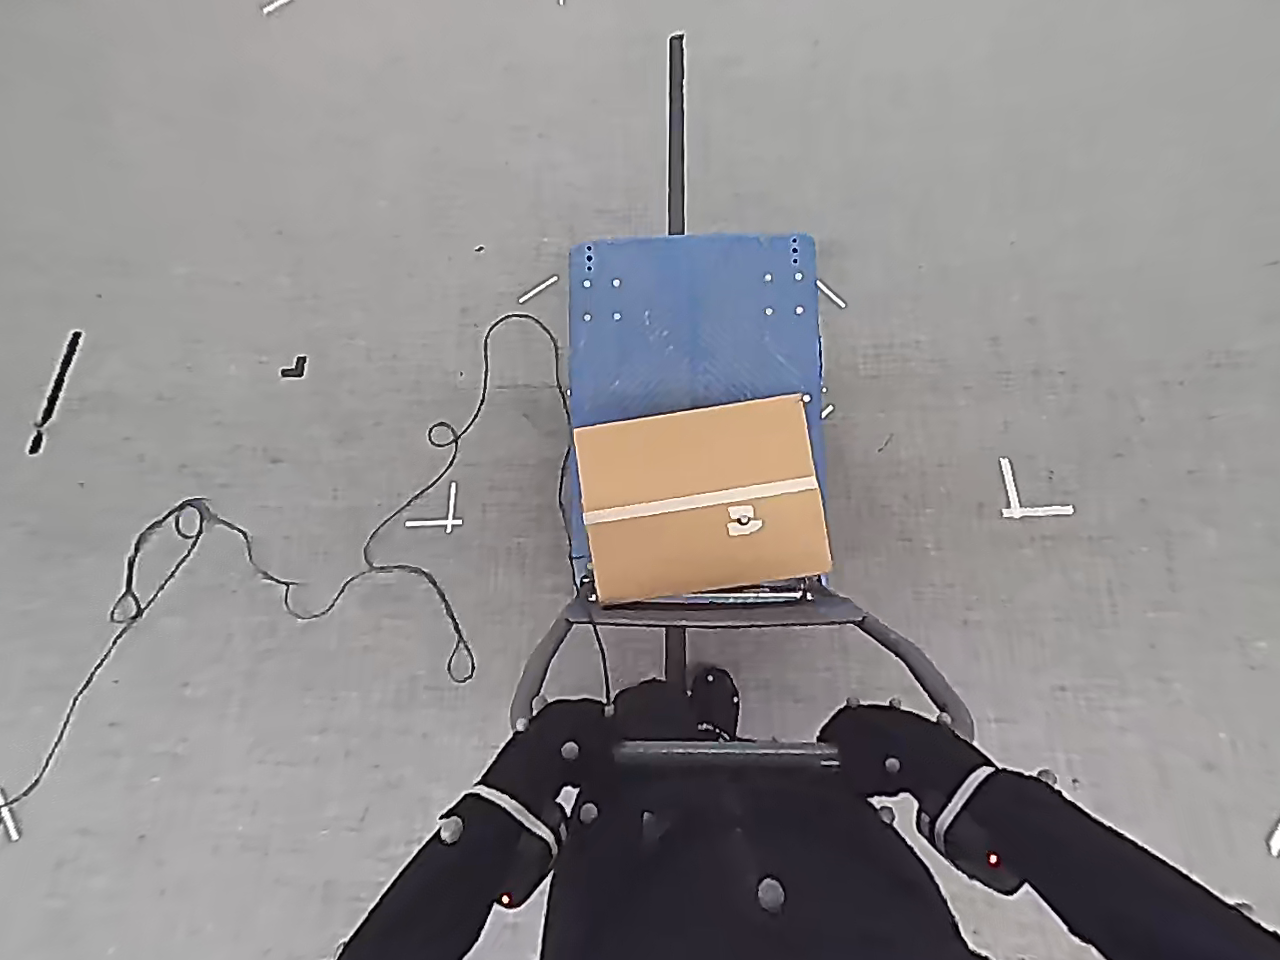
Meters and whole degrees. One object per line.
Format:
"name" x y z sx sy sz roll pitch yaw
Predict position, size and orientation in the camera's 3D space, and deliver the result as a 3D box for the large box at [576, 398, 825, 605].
"large box" 0.107 0.047 1.100 0.408 0.320 0.320 -9 87 1
